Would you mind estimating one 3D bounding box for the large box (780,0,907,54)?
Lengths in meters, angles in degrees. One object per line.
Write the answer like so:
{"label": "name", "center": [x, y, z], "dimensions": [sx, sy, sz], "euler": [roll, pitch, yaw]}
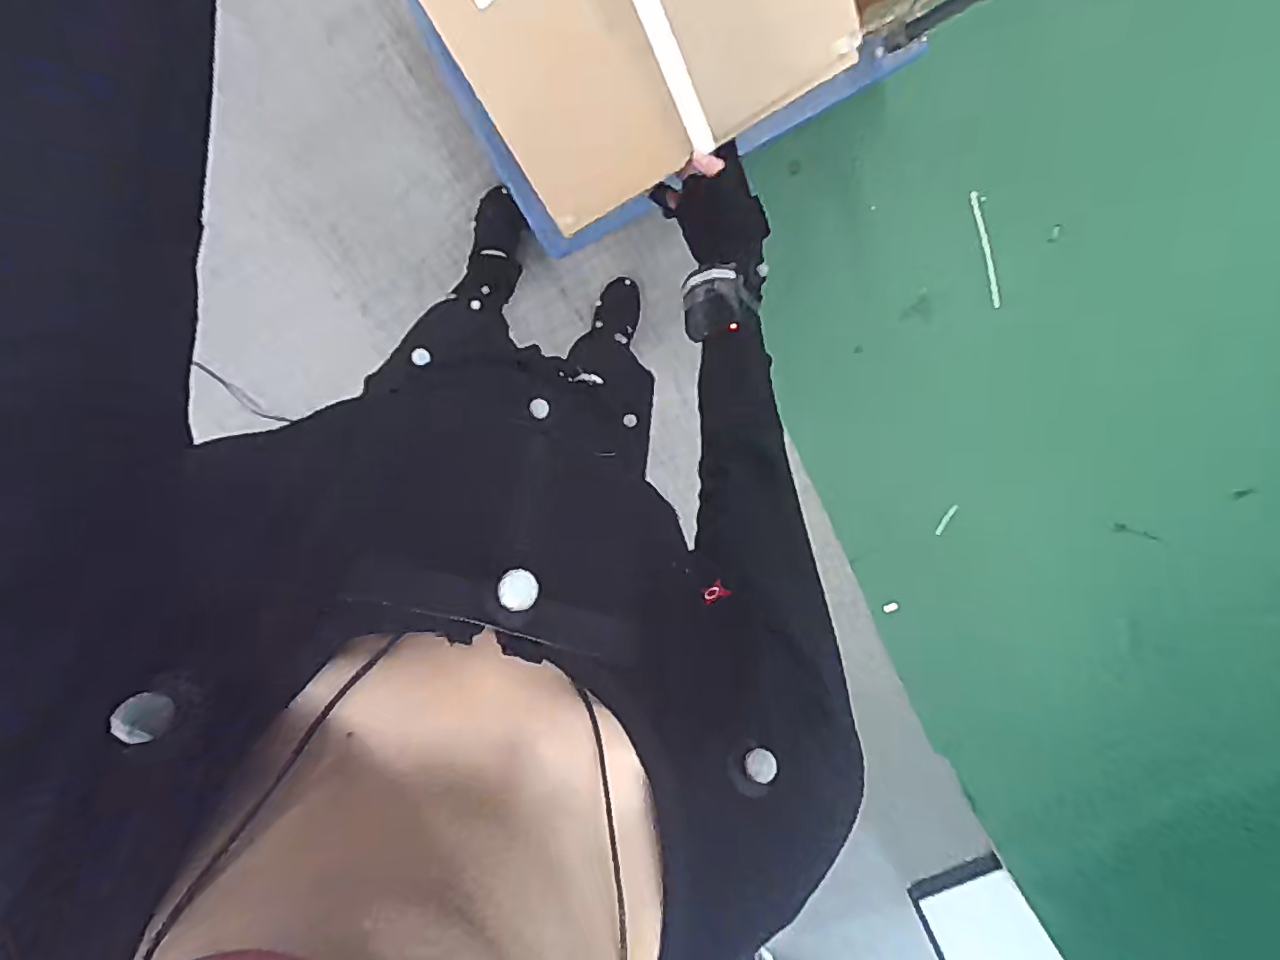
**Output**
{"label": "large box", "center": [0.289, -0.762, 0.542], "dimensions": [0.320, 0.320, 0.408], "euler": [-24, 115, 5]}
